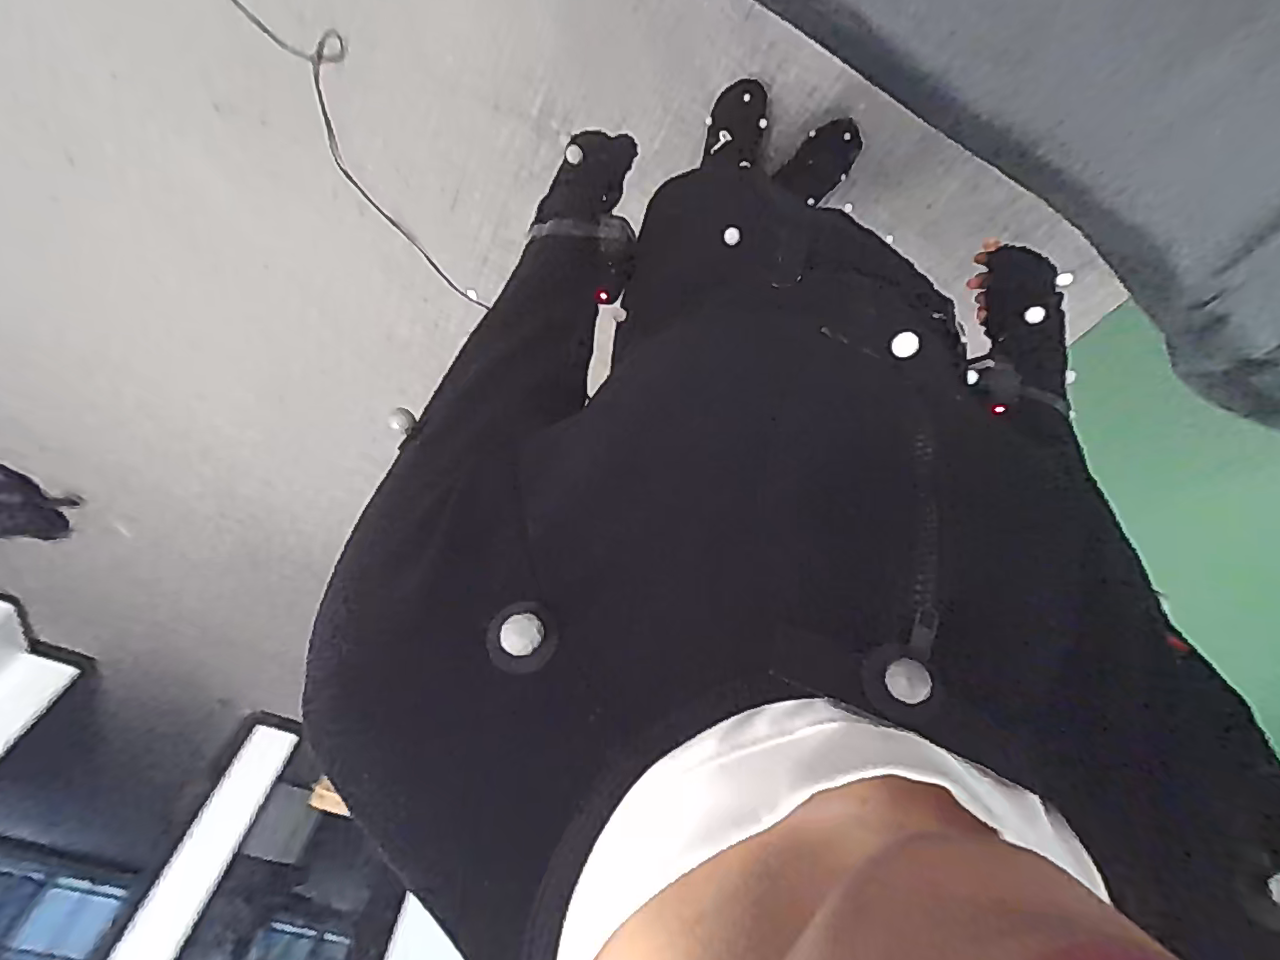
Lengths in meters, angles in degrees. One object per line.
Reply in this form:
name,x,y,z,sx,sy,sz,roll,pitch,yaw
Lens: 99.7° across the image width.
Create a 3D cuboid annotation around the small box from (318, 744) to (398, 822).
small box,-0.946,1.020,1.827,0.179,0.176,0.168,26,125,-15
